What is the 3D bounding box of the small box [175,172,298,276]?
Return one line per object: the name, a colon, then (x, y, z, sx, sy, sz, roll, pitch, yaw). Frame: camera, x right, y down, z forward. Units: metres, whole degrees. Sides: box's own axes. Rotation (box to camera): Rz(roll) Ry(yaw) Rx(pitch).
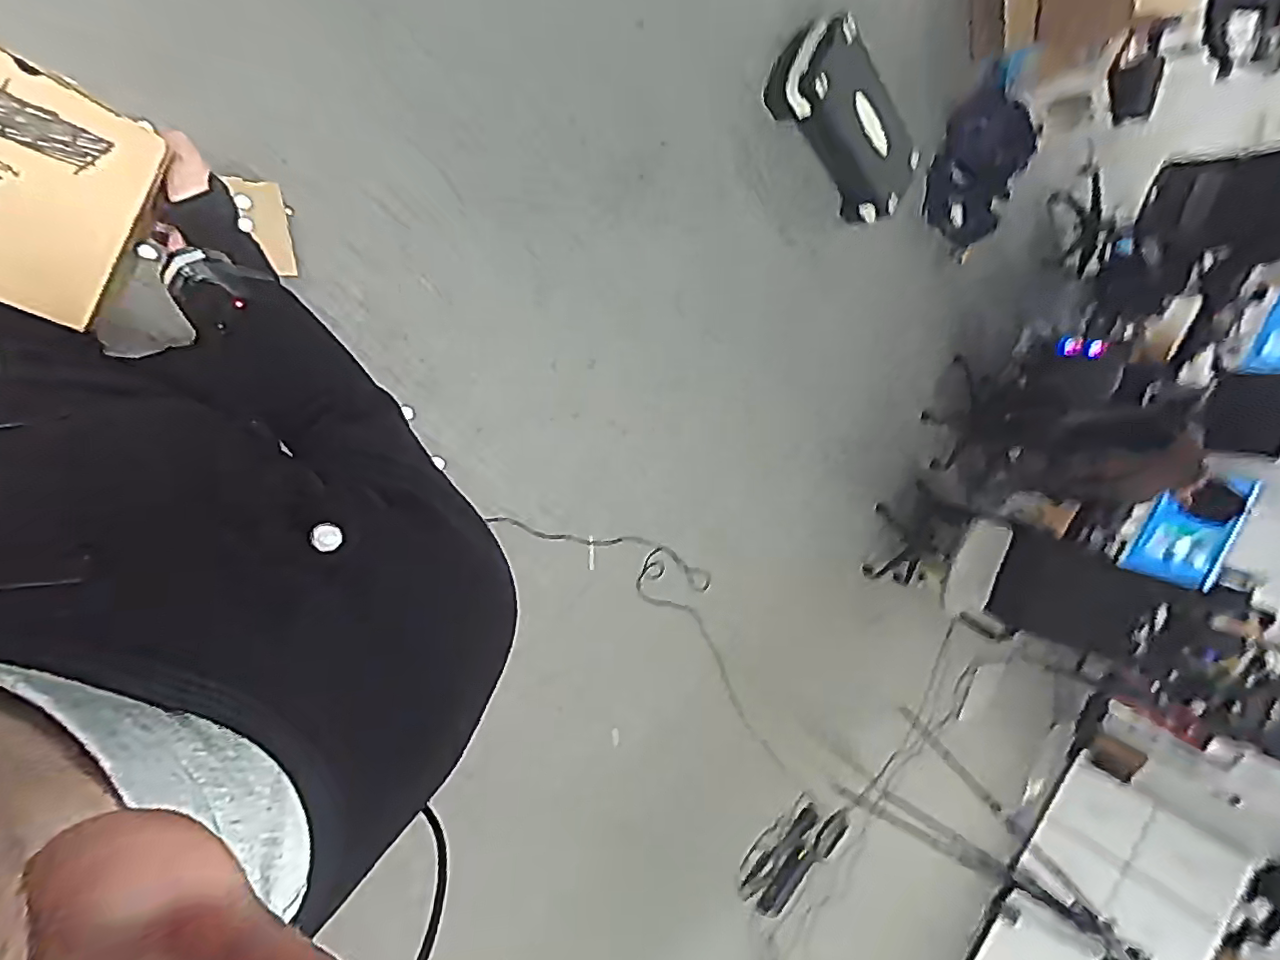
small box: (-0.824, -0.518, 1.115, 0.168, 0.176, 0.179, -14, 114, -30)
